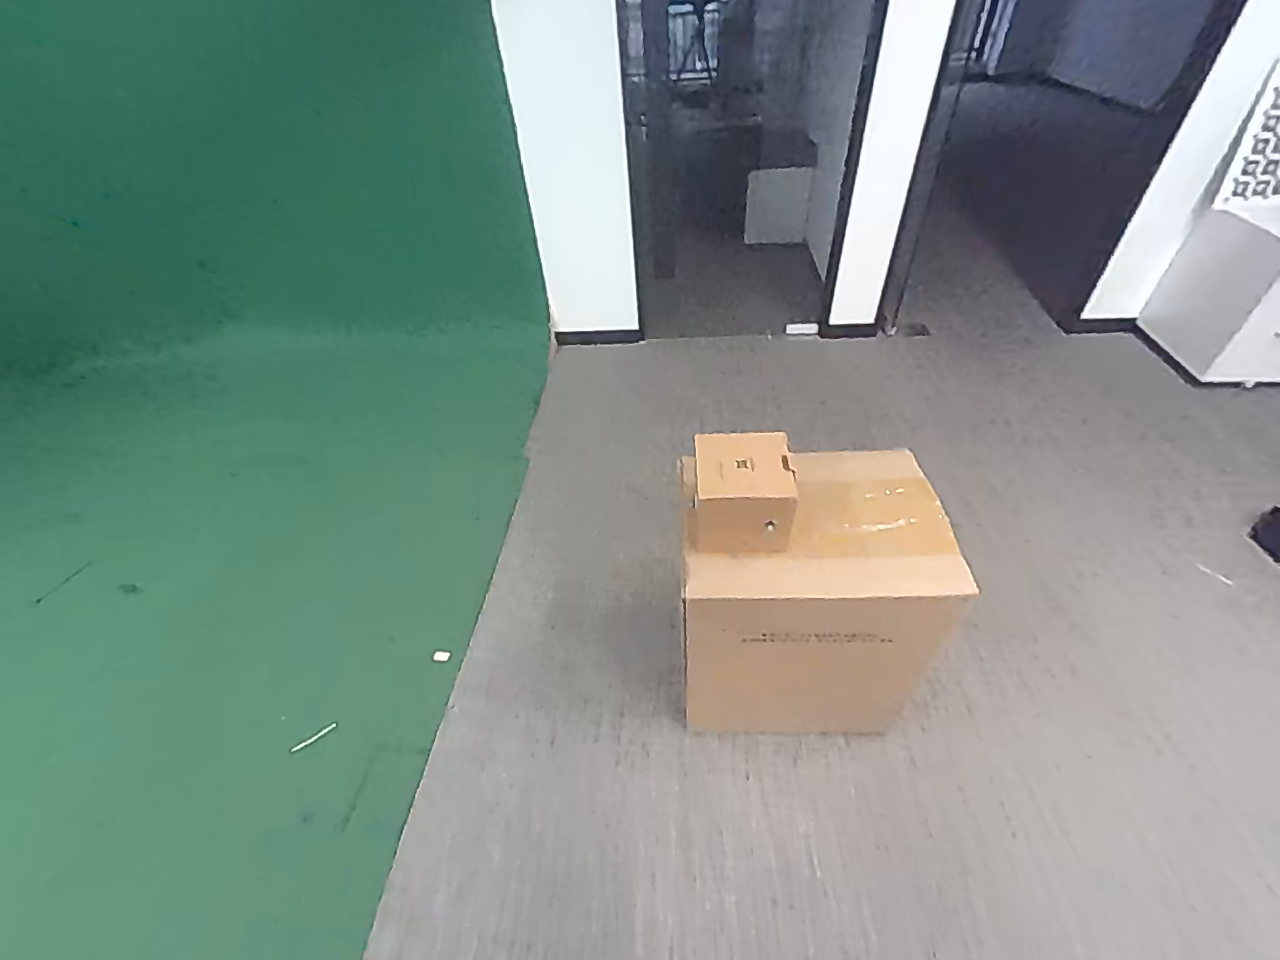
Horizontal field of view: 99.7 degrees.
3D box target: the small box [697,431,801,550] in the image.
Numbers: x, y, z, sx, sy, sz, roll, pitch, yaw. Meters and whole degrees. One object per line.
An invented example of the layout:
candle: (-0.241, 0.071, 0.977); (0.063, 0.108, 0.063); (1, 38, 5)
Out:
small box: (0.202, 0.024, 1.052); (0.179, 0.176, 0.168); (-3, 48, 5)
